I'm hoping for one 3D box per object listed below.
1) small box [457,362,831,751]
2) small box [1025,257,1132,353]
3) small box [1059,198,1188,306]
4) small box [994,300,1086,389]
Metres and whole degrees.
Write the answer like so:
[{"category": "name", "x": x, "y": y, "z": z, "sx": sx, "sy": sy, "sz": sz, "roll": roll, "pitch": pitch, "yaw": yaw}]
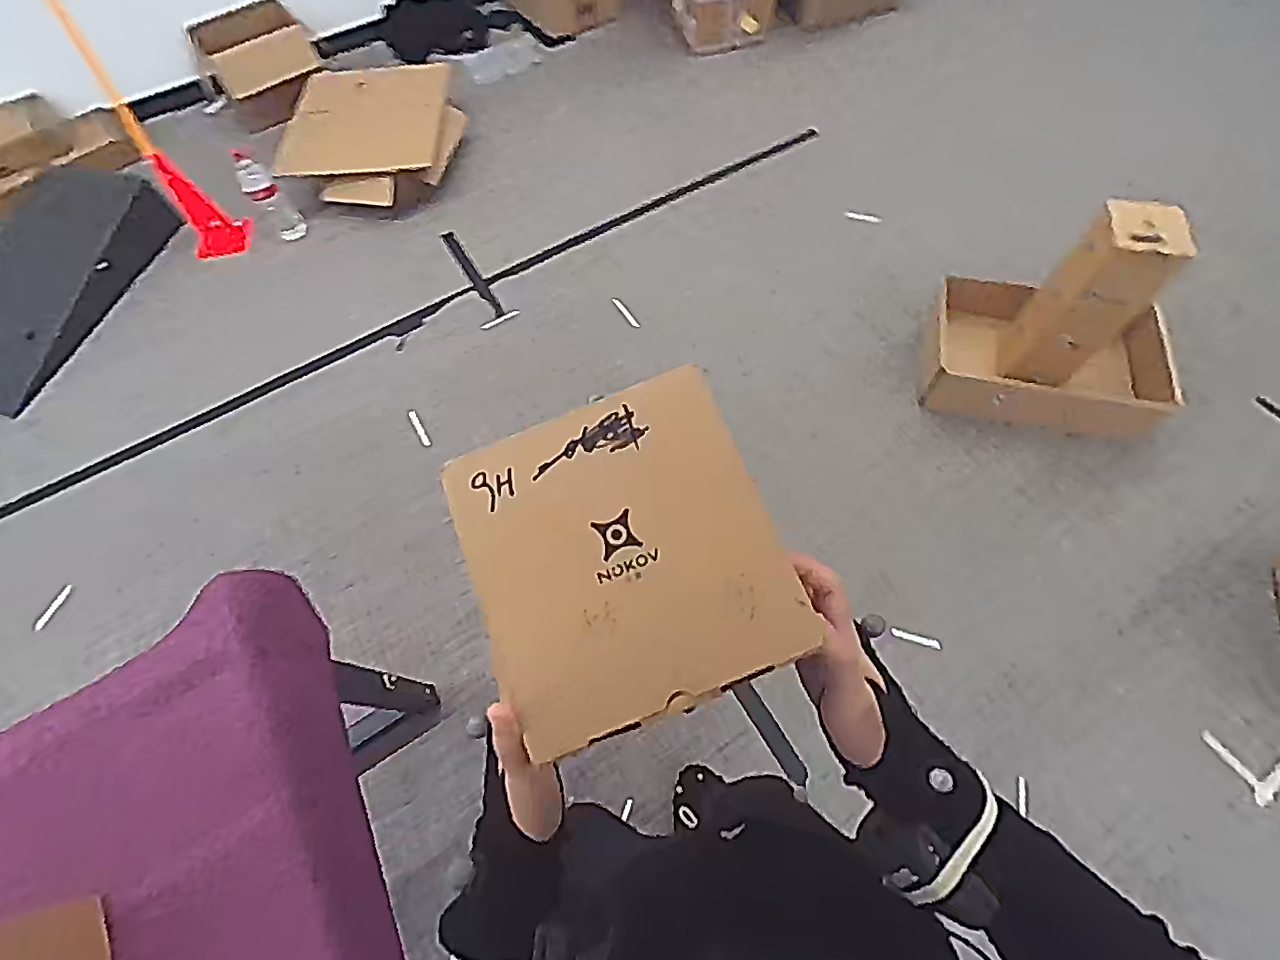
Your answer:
[{"category": "small box", "x": 0.002, "y": 0.052, "z": 0.378, "sx": 0.168, "sy": 0.176, "sz": 0.179, "roll": -21, "pitch": 76, "yaw": -2}, {"category": "small box", "x": 1.185, "y": -0.478, "z": 1.477, "sx": 0.168, "sy": 0.176, "sz": 0.179, "roll": 13, "pitch": 65, "yaw": 10}, {"category": "small box", "x": 1.178, "y": -0.557, "z": 1.333, "sx": 0.168, "sy": 0.176, "sz": 0.179, "roll": 12, "pitch": 63, "yaw": 9}, {"category": "small box", "x": 1.190, "y": -0.403, "z": 1.621, "sx": 0.168, "sy": 0.176, "sz": 0.179, "roll": 14, "pitch": 65, "yaw": 10}]
